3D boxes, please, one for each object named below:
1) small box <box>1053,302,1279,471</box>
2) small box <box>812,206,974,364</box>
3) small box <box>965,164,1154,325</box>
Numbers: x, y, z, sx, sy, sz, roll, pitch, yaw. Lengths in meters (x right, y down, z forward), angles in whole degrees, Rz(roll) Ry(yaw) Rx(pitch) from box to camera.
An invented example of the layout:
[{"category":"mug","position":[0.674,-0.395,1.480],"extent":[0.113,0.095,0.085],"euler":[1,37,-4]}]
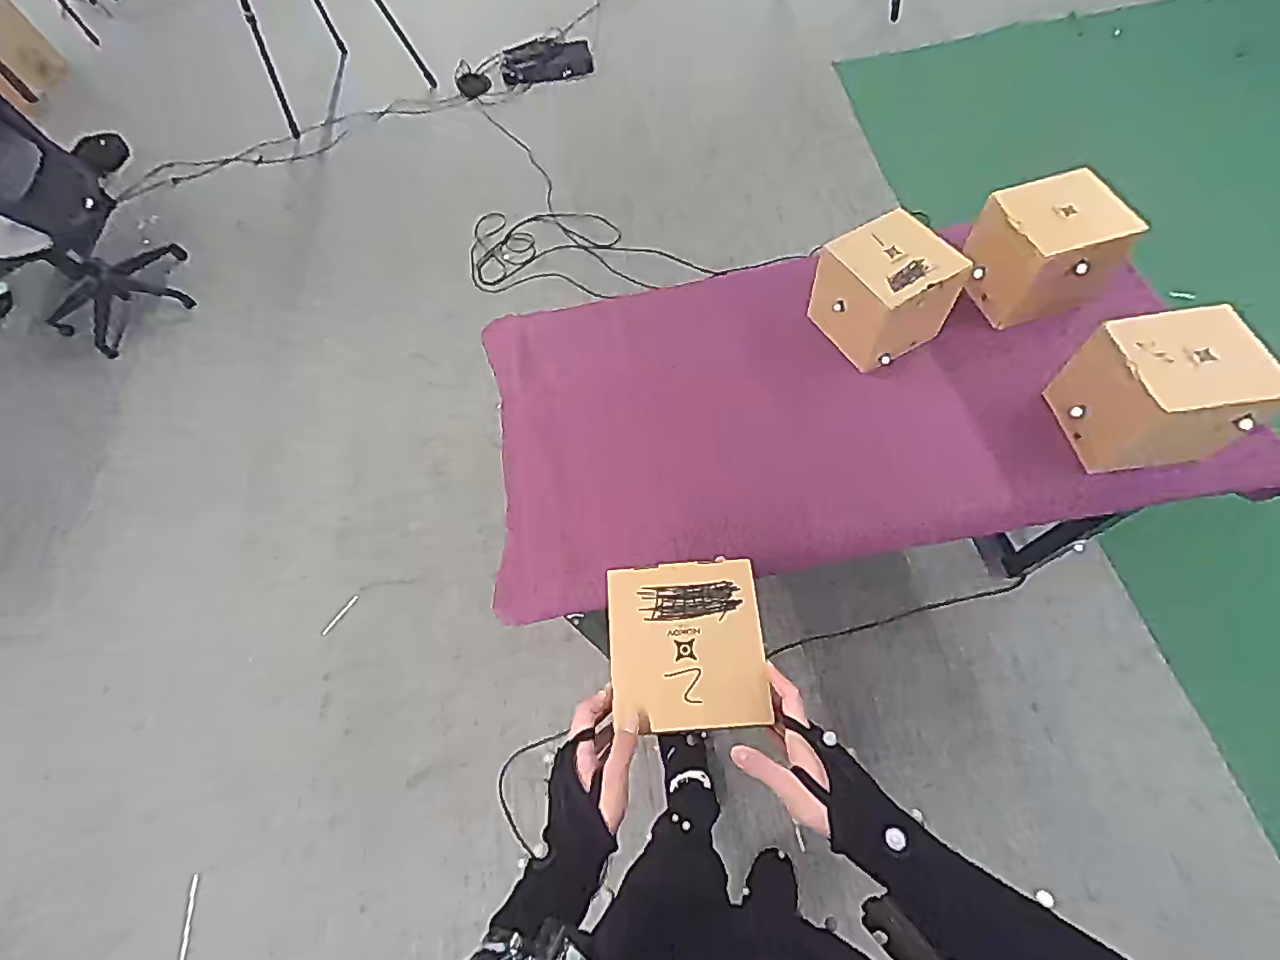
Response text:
[{"category":"small box","position":[0.768,-0.130,0.793],"extent":[0.179,0.176,0.168],"euler":[-8,61,5]},{"category":"small box","position":[0.427,-0.329,0.947],"extent":[0.168,0.176,0.179],"euler":[-28,63,-6]},{"category":"small box","position":[0.708,-0.403,0.945],"extent":[0.179,0.176,0.168],"euler":[-16,63,1]}]
